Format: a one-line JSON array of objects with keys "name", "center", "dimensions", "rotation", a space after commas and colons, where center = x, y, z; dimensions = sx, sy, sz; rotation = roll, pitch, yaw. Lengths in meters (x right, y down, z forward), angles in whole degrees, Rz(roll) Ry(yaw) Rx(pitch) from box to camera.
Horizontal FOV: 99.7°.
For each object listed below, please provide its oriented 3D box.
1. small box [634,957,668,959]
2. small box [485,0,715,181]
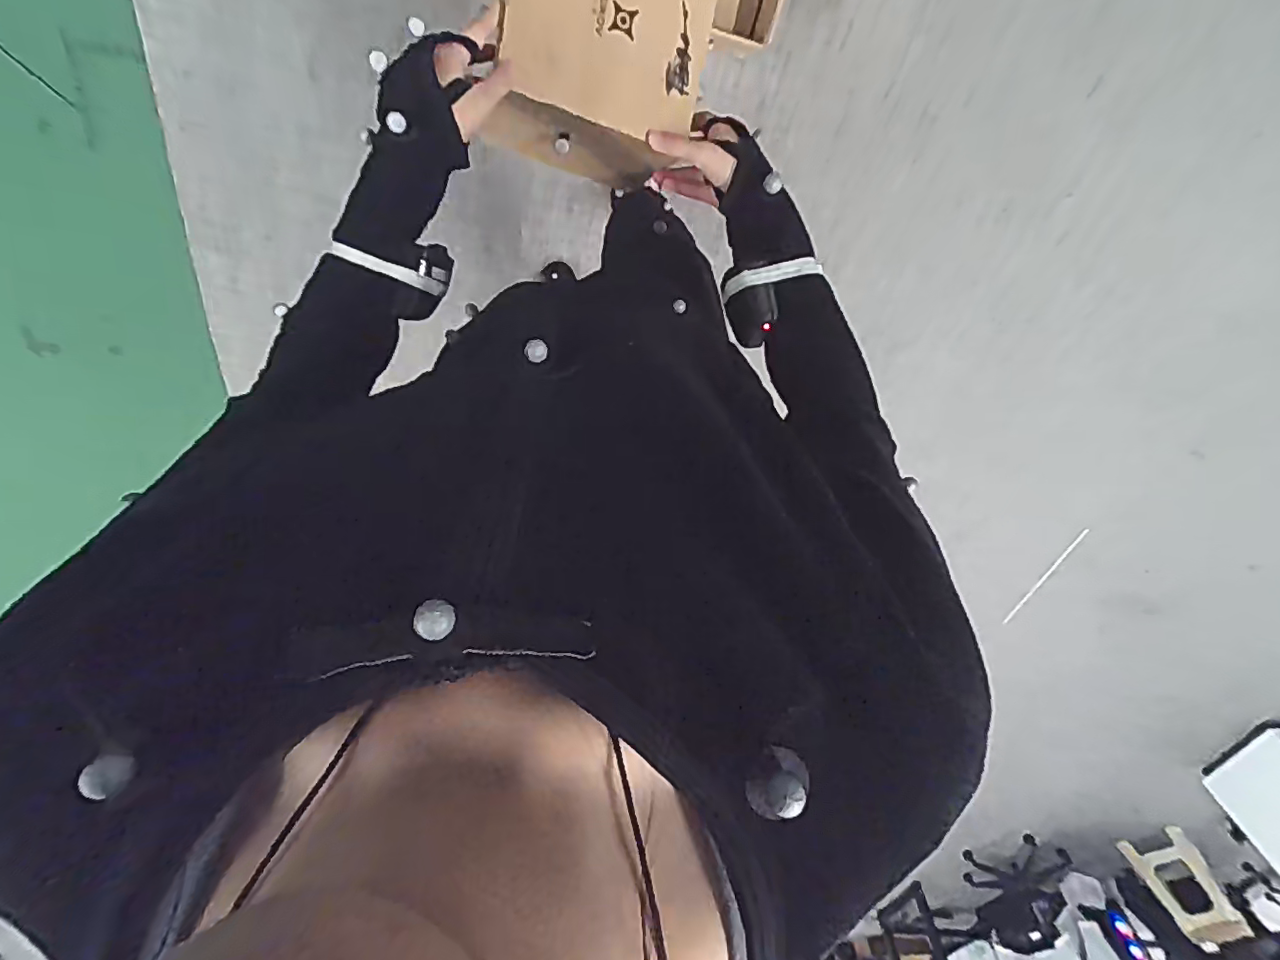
[{"name": "small box", "center": [0.045, 1.563, 1.624], "dimensions": [0.168, 0.176, 0.179], "rotation": [7, 127, -5]}, {"name": "small box", "center": [-0.047, -0.409, 0.513], "dimensions": [0.179, 0.176, 0.168], "rotation": [9, 104, -20]}]
